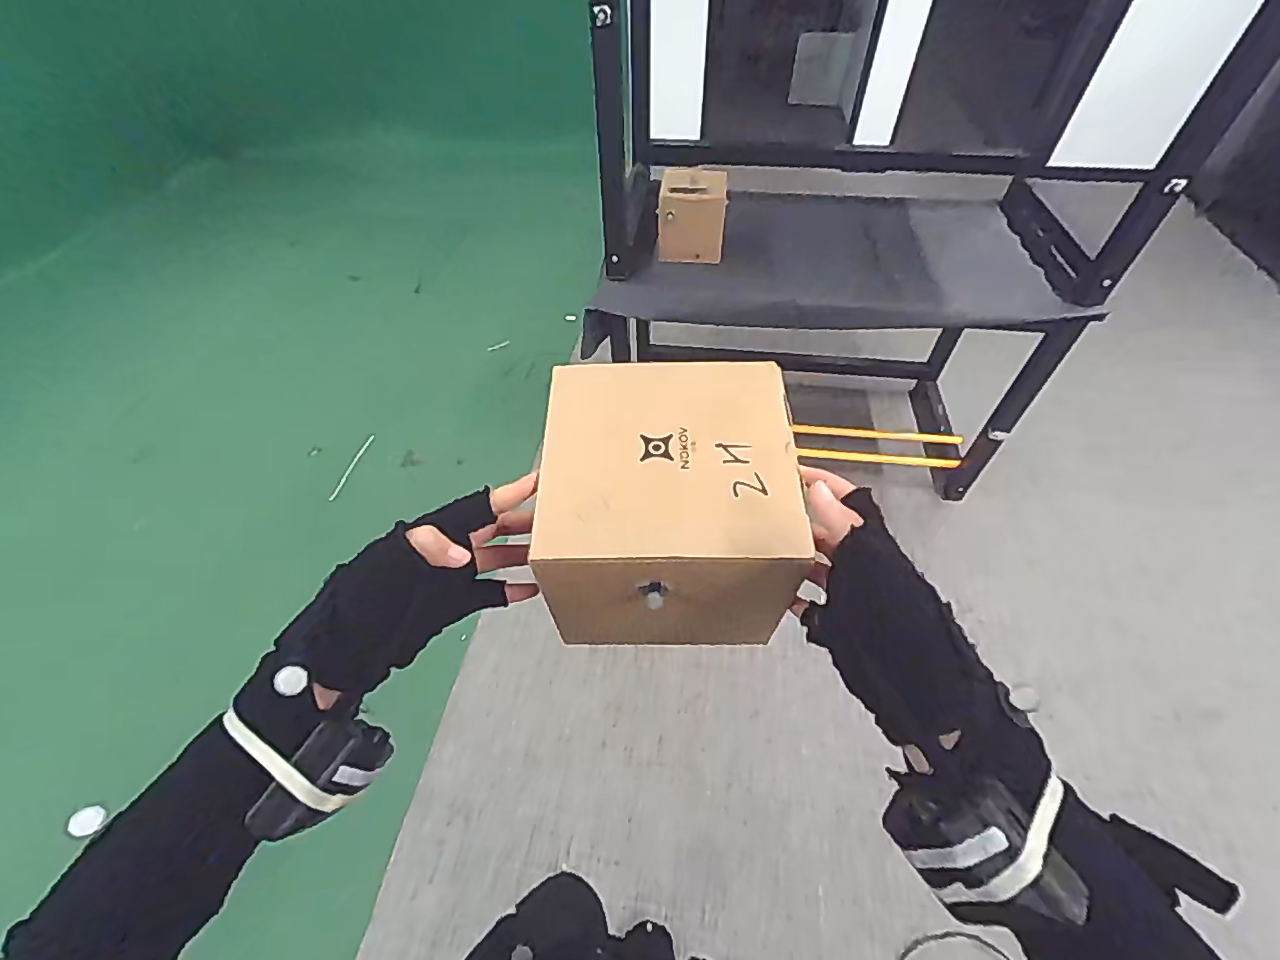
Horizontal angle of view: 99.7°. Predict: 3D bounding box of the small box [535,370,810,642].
[{"bbox_3d":[0.022,0.028,0.446,0.179,0.176,0.168,0,56,0],"label":"small box"}]
